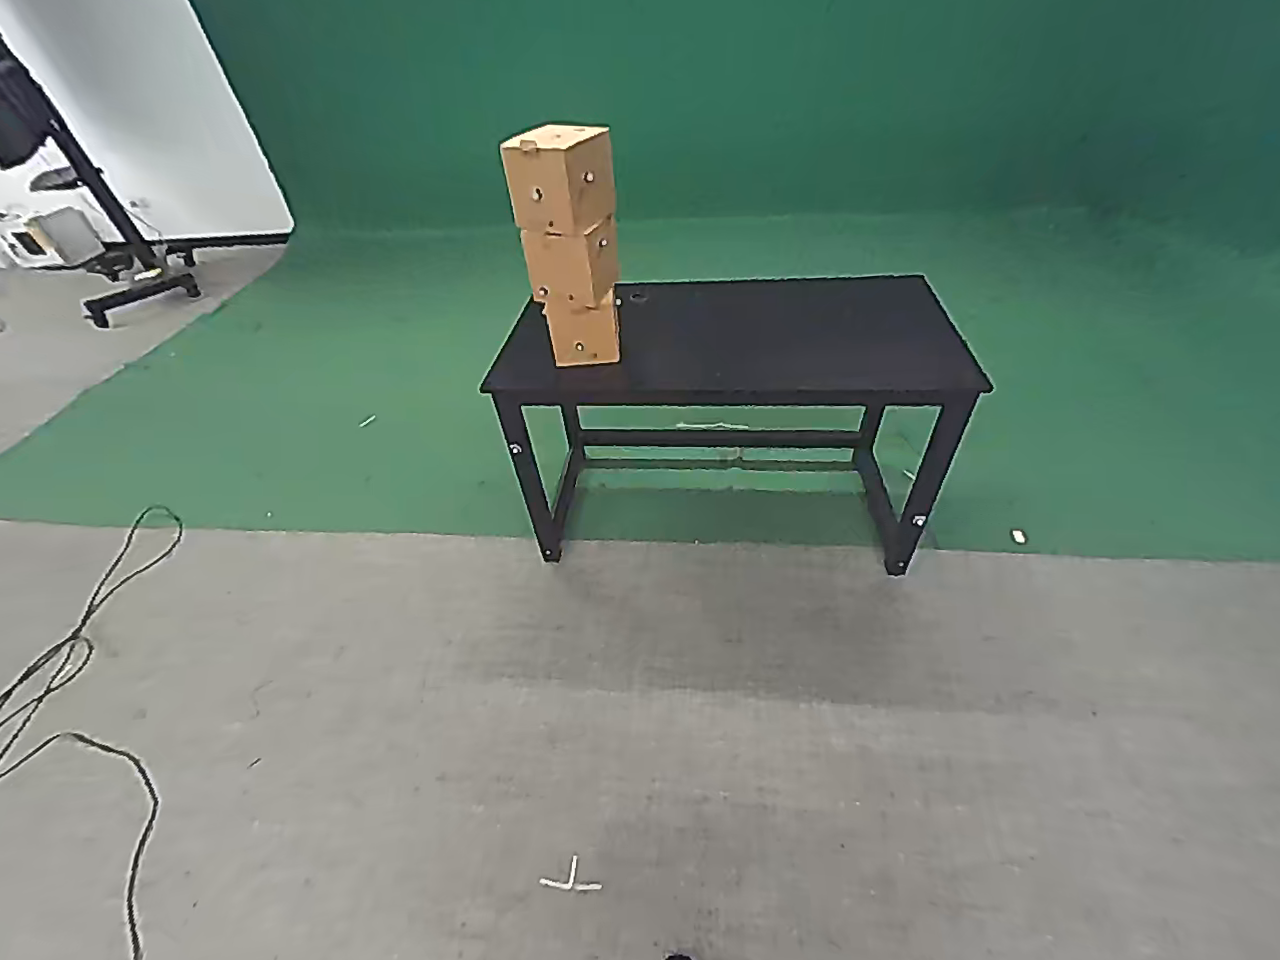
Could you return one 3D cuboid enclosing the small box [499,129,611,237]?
[{"bbox_3d":[-0.176,-0.657,1.197,0.168,0.176,0.179,20,50,23],"label":"small box"}]

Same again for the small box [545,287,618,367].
[{"bbox_3d":[-0.148,-0.414,1.417,0.168,0.176,0.179,-4,44,1],"label":"small box"}]

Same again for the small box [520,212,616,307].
[{"bbox_3d":[-0.163,-0.533,1.305,0.168,0.176,0.179,11,46,16],"label":"small box"}]
